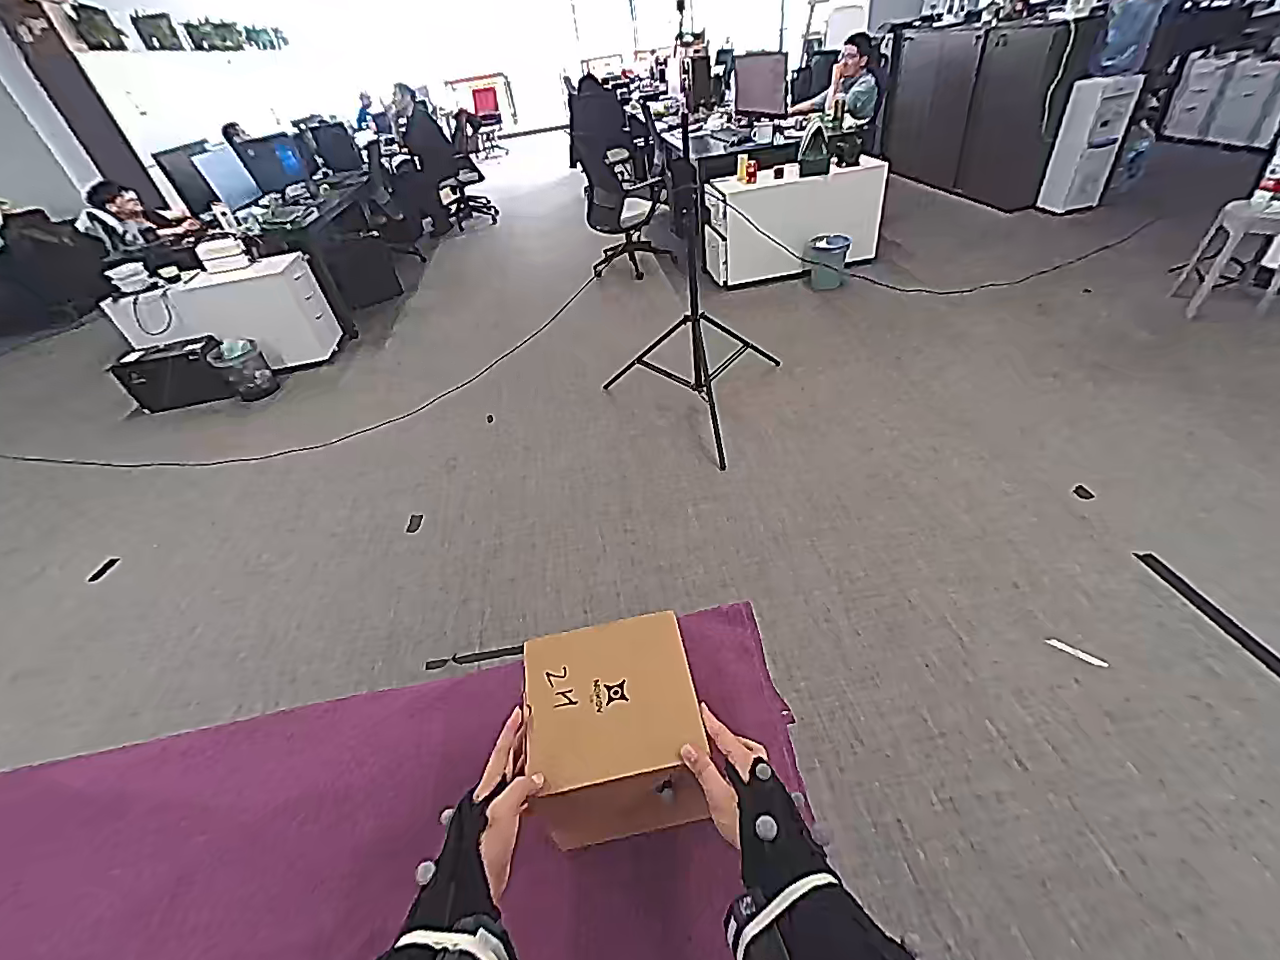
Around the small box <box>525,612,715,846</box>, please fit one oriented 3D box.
[{"bbox_3d":[-0.021,0.275,0.599,0.179,0.176,0.168,-12,41,-2],"label":"small box"}]
